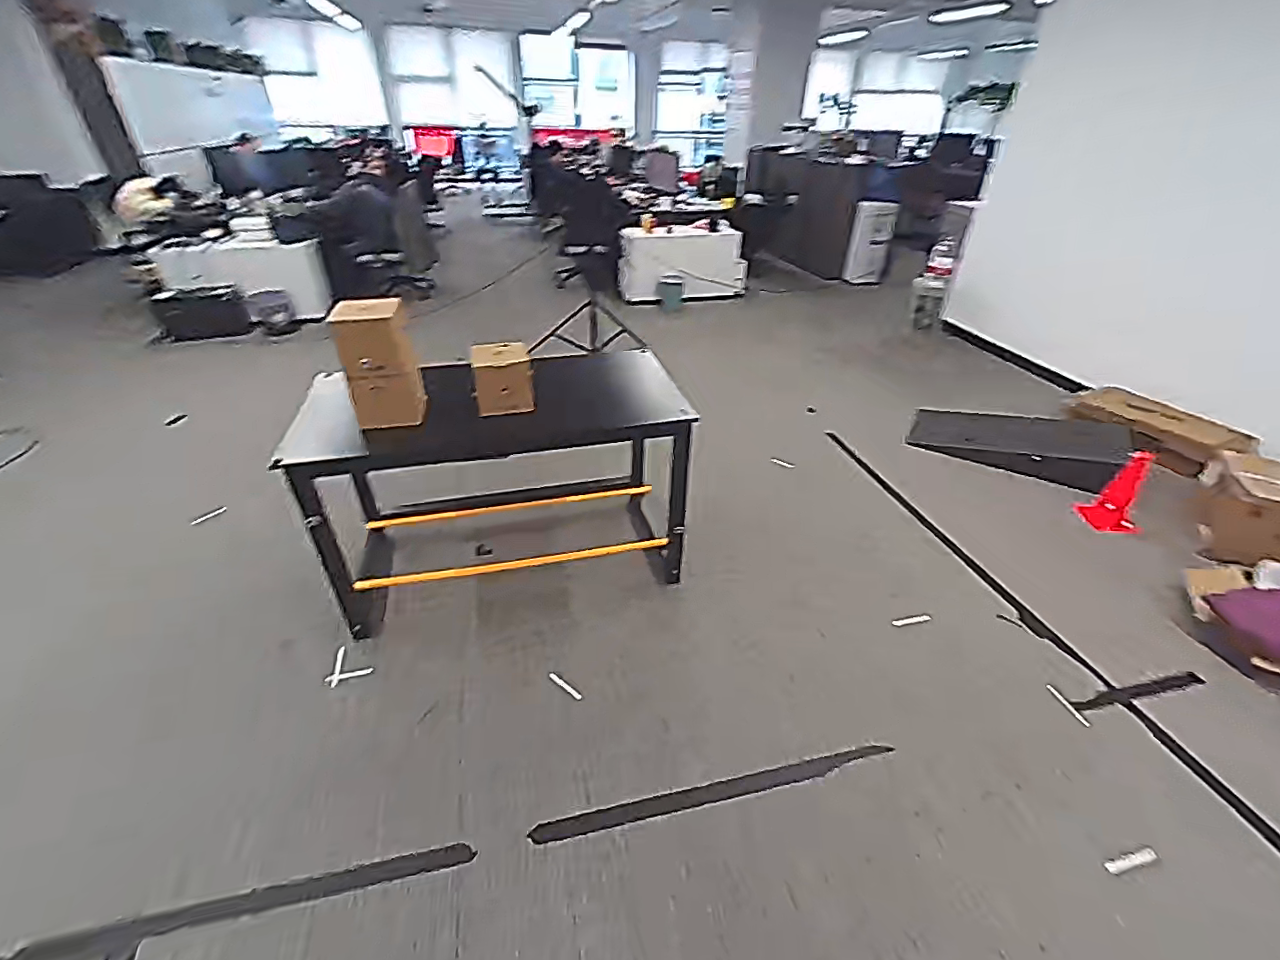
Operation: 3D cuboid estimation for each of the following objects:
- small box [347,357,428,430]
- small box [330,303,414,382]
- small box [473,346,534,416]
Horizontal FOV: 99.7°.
[{"bbox_3d":[-0.756,-0.262,1.639,0.179,0.176,0.168,-6,35,-12],"label":"small box"},{"bbox_3d":[-0.755,-0.395,1.546,0.168,0.176,0.179,-8,36,-11],"label":"small box"},{"bbox_3d":[-0.435,-0.312,1.726,0.168,0.176,0.179,-8,36,-13],"label":"small box"}]
